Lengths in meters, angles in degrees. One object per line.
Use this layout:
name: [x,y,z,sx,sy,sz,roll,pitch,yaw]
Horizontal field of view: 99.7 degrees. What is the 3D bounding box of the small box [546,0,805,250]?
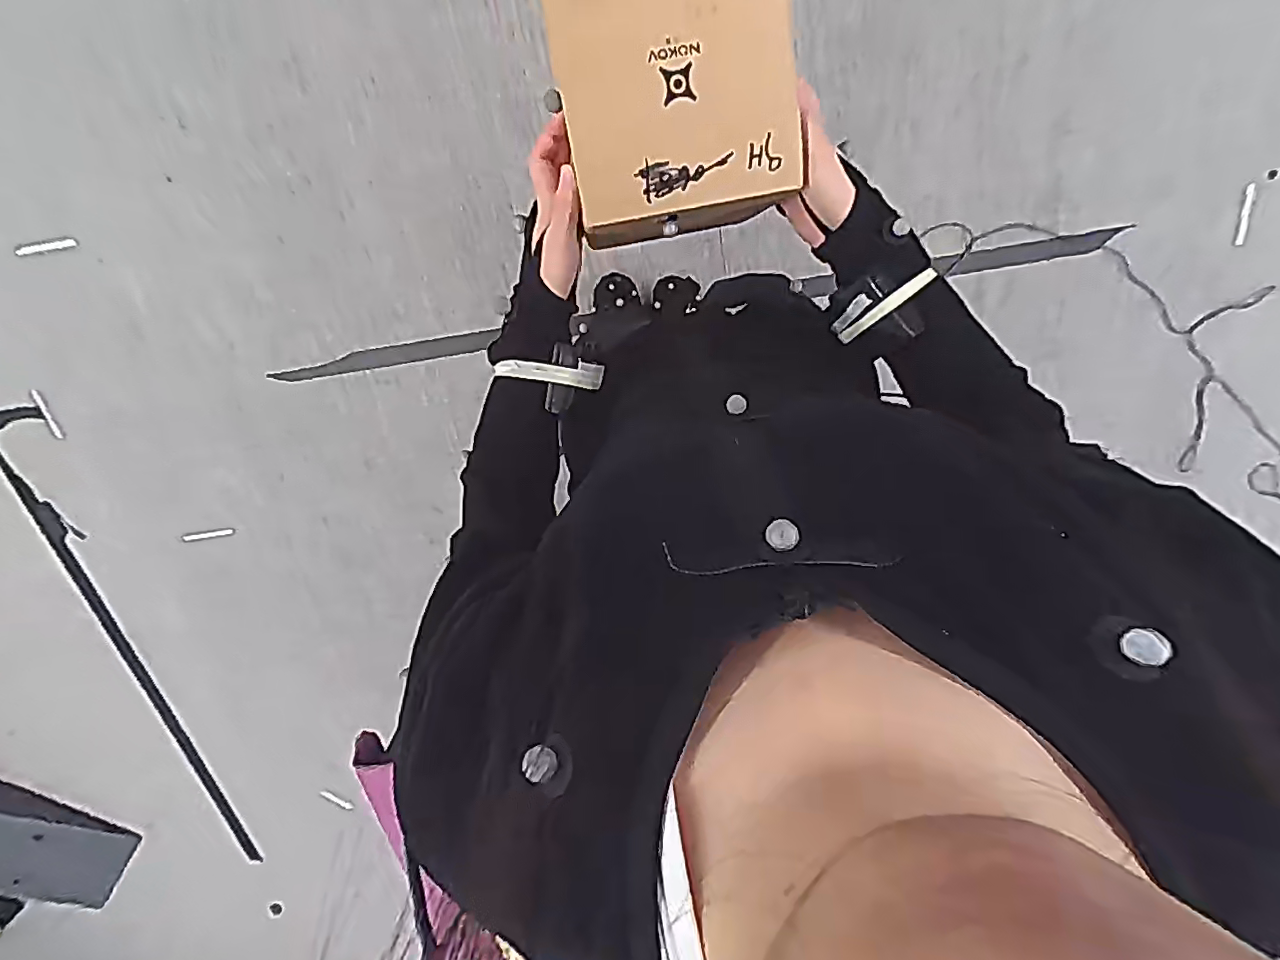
small box: [0.021,-0.302,0.443,0.168,0.176,0.179,-11,108,-1]
